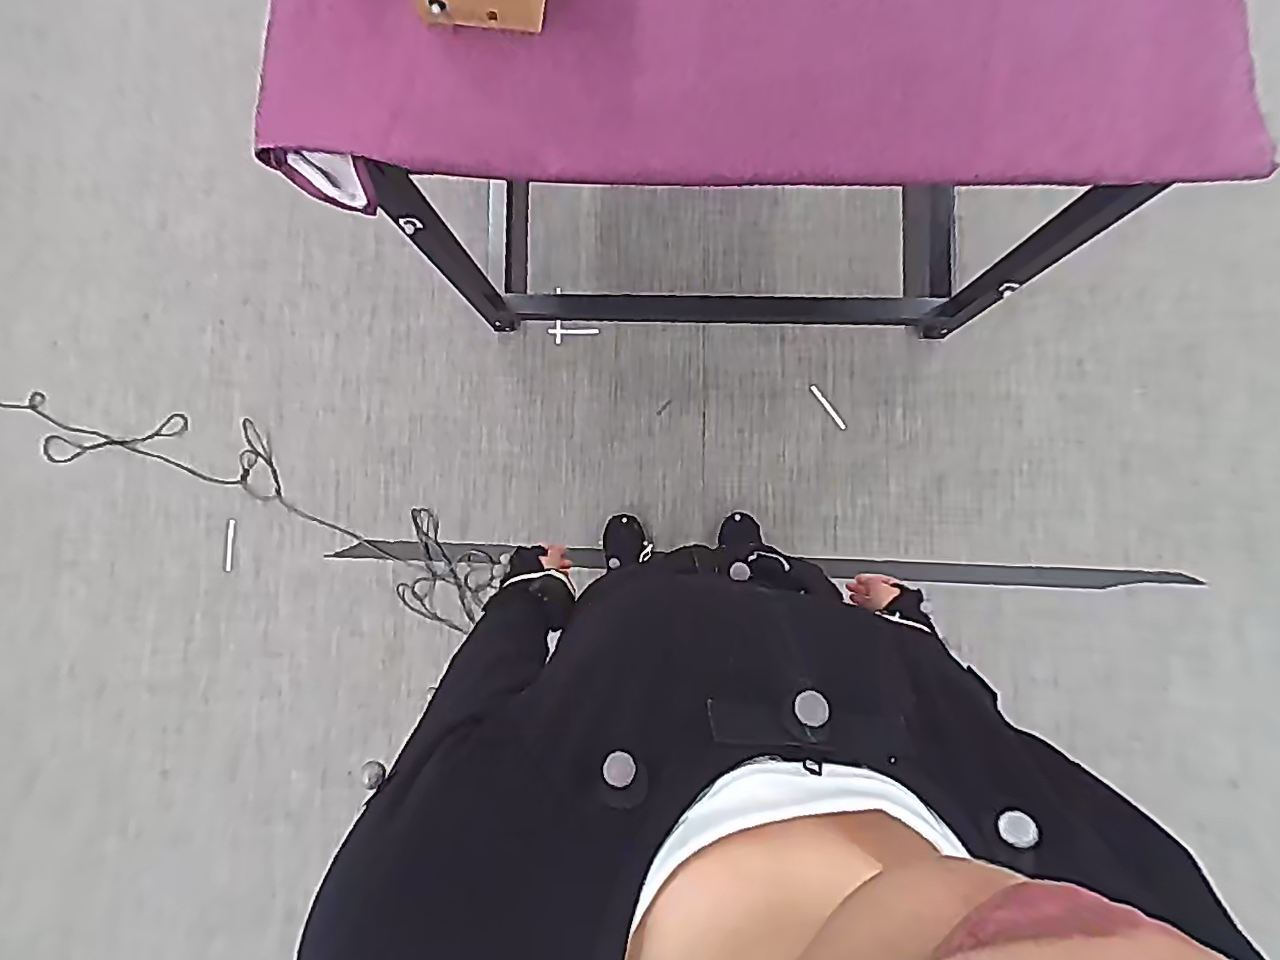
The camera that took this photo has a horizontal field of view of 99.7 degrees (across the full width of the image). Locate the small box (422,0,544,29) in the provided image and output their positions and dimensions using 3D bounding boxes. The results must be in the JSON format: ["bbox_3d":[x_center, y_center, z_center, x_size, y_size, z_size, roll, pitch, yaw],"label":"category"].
[{"bbox_3d":[-0.207,-0.704,0.659,0.168,0.176,0.179,8,86,3],"label":"small box"}]
